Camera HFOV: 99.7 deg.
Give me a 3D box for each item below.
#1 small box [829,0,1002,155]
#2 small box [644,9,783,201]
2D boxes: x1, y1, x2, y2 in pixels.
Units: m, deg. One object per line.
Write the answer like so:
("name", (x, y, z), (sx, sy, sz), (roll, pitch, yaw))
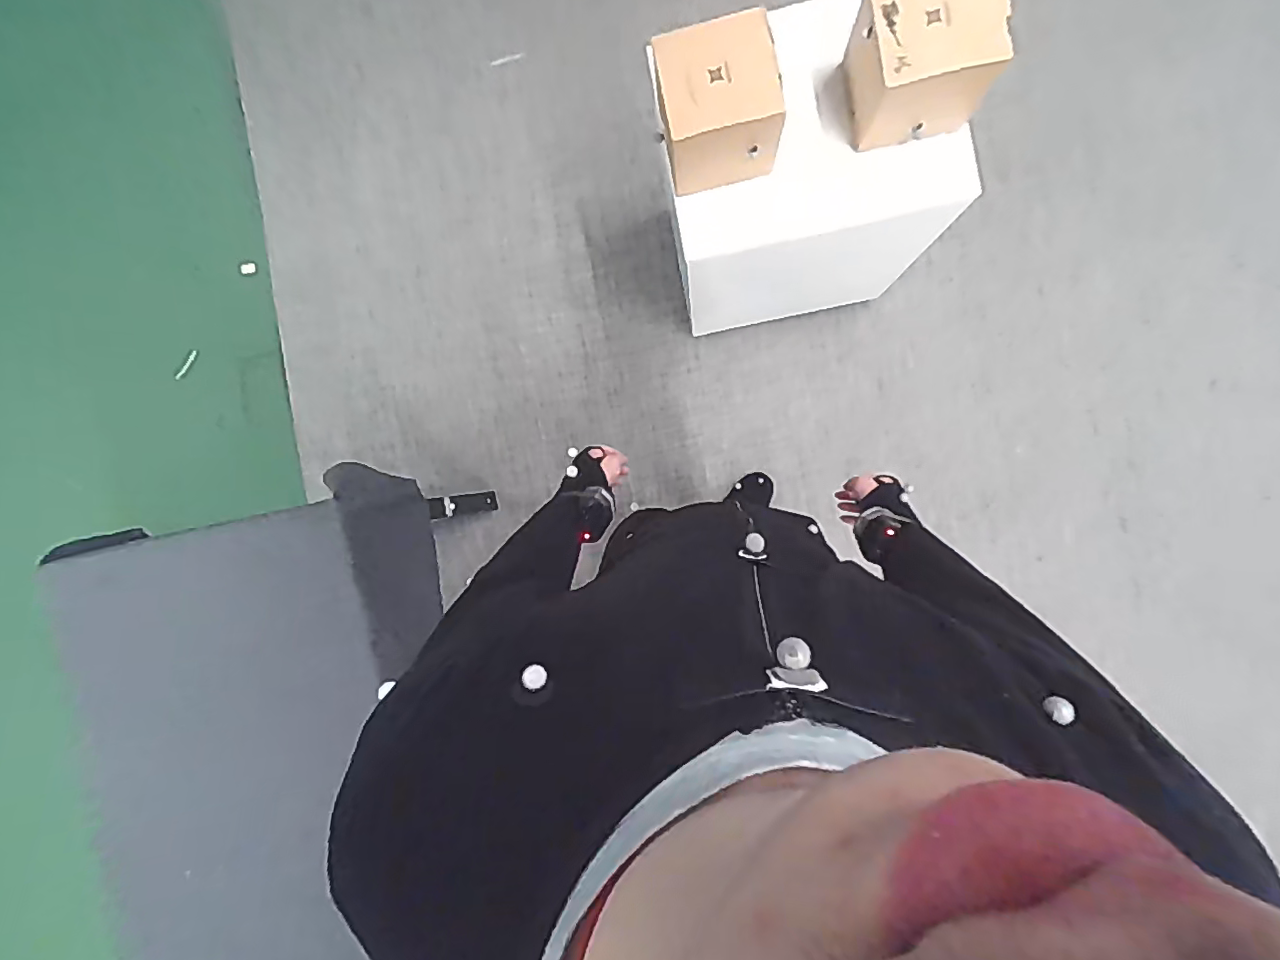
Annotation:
("small box", (0.417, -0.648, 0.843), (0.179, 0.176, 0.168), (-10, 89, 4))
("small box", (0.111, -0.585, 0.868), (0.179, 0.176, 0.168), (-14, 88, 4))
